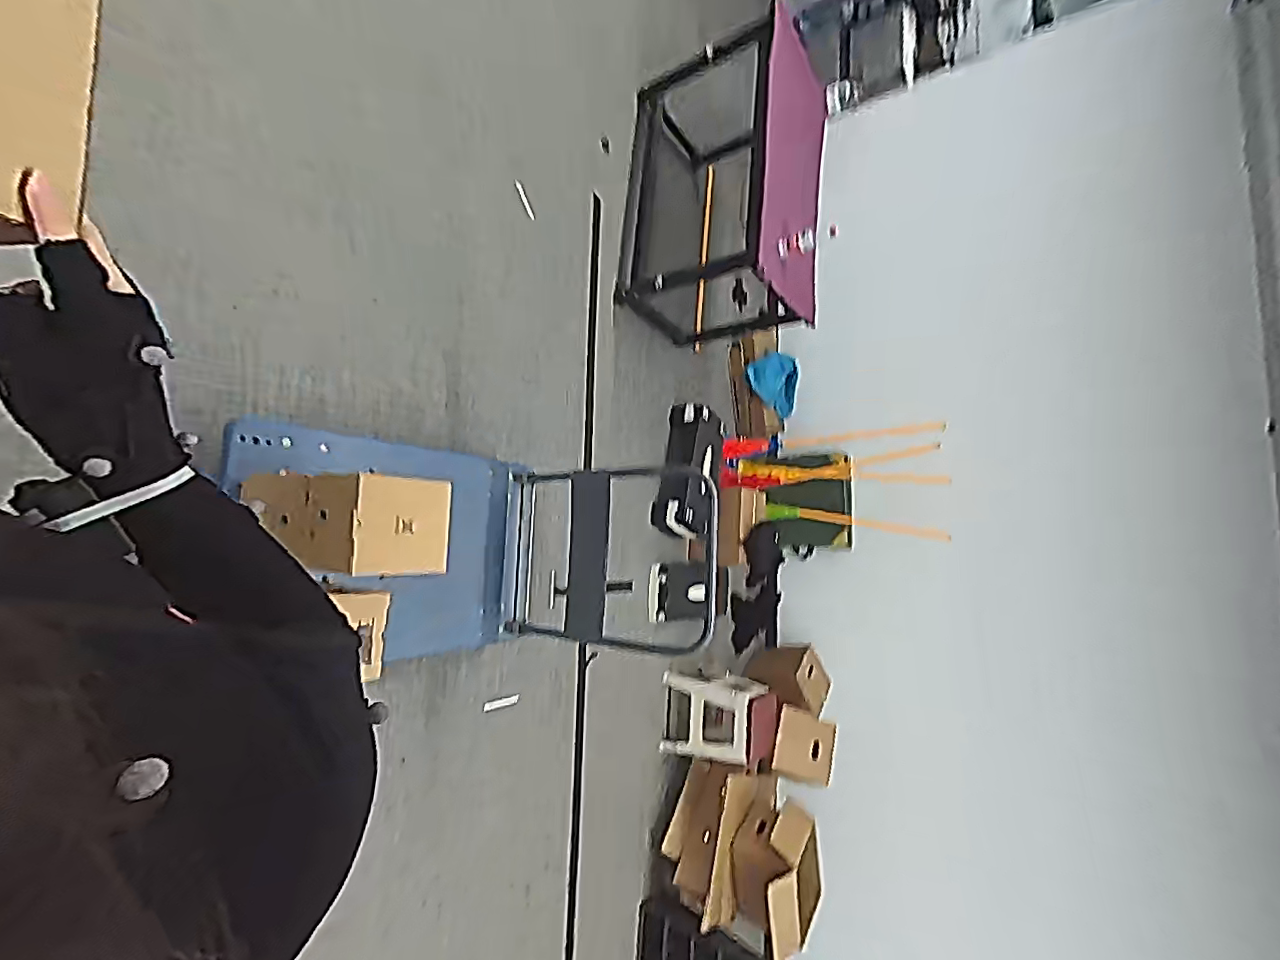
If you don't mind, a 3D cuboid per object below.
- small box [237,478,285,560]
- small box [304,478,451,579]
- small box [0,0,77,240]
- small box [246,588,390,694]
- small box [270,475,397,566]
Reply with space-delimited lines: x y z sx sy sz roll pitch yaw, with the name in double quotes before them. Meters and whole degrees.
"small box" -0.739 0.088 1.171 0.179 0.176 0.168 9 82 -54
"small box" -0.472 0.086 0.980 0.179 0.176 0.168 9 81 -53
"small box" -0.428 -0.233 0.255 0.168 0.179 0.176 0 96 -78
"small box" -0.619 0.300 1.044 0.179 0.176 0.168 14 77 -53
"small box" -0.606 0.081 1.073 0.179 0.176 0.168 6 84 -53
